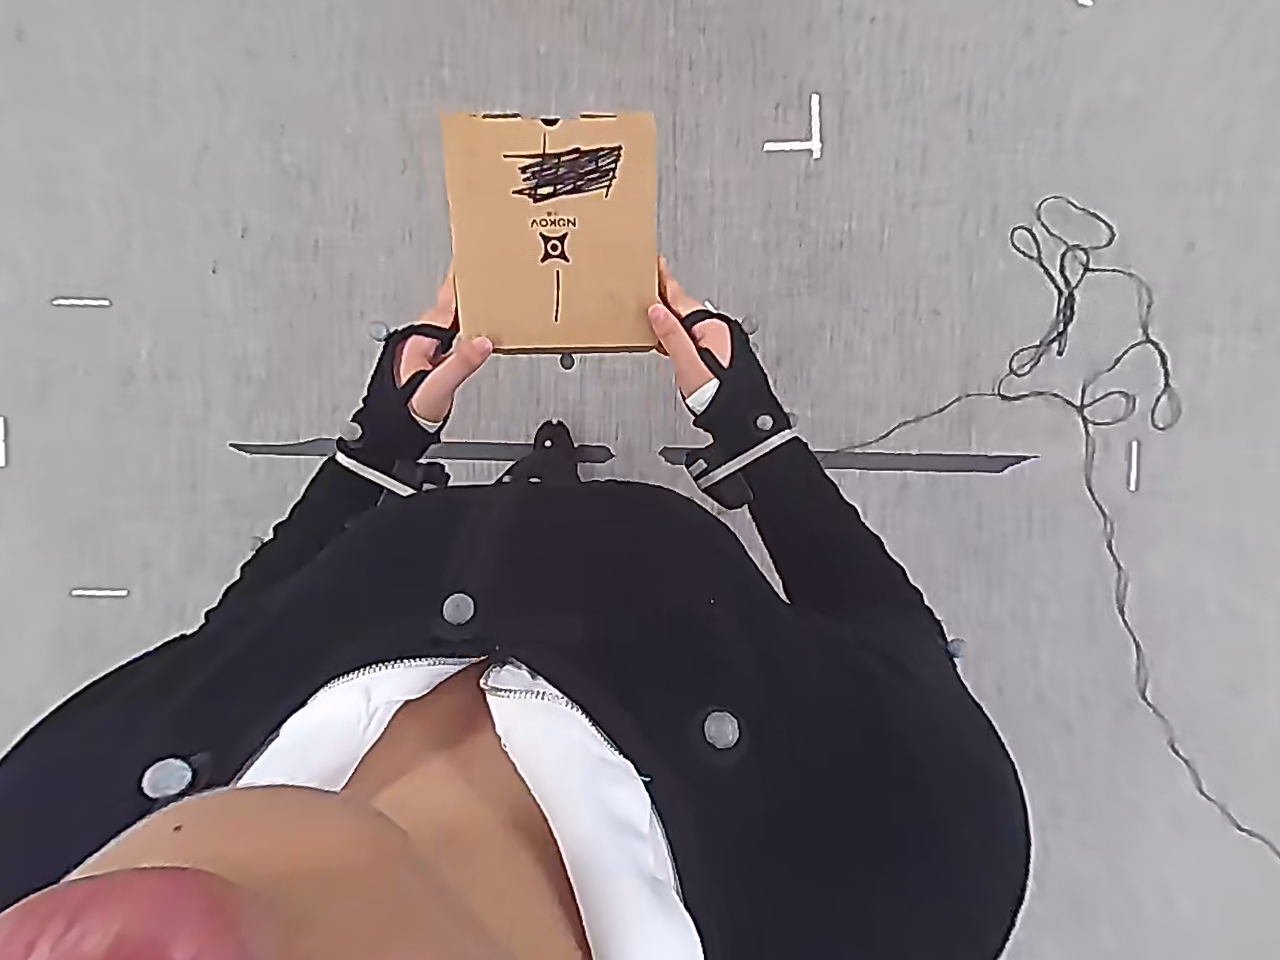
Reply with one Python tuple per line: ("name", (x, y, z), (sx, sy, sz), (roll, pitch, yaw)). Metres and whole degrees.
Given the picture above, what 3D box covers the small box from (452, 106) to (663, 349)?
("small box", (-0.067, -0.217, 0.511), (0.168, 0.176, 0.179), (-1, 102, -2))
